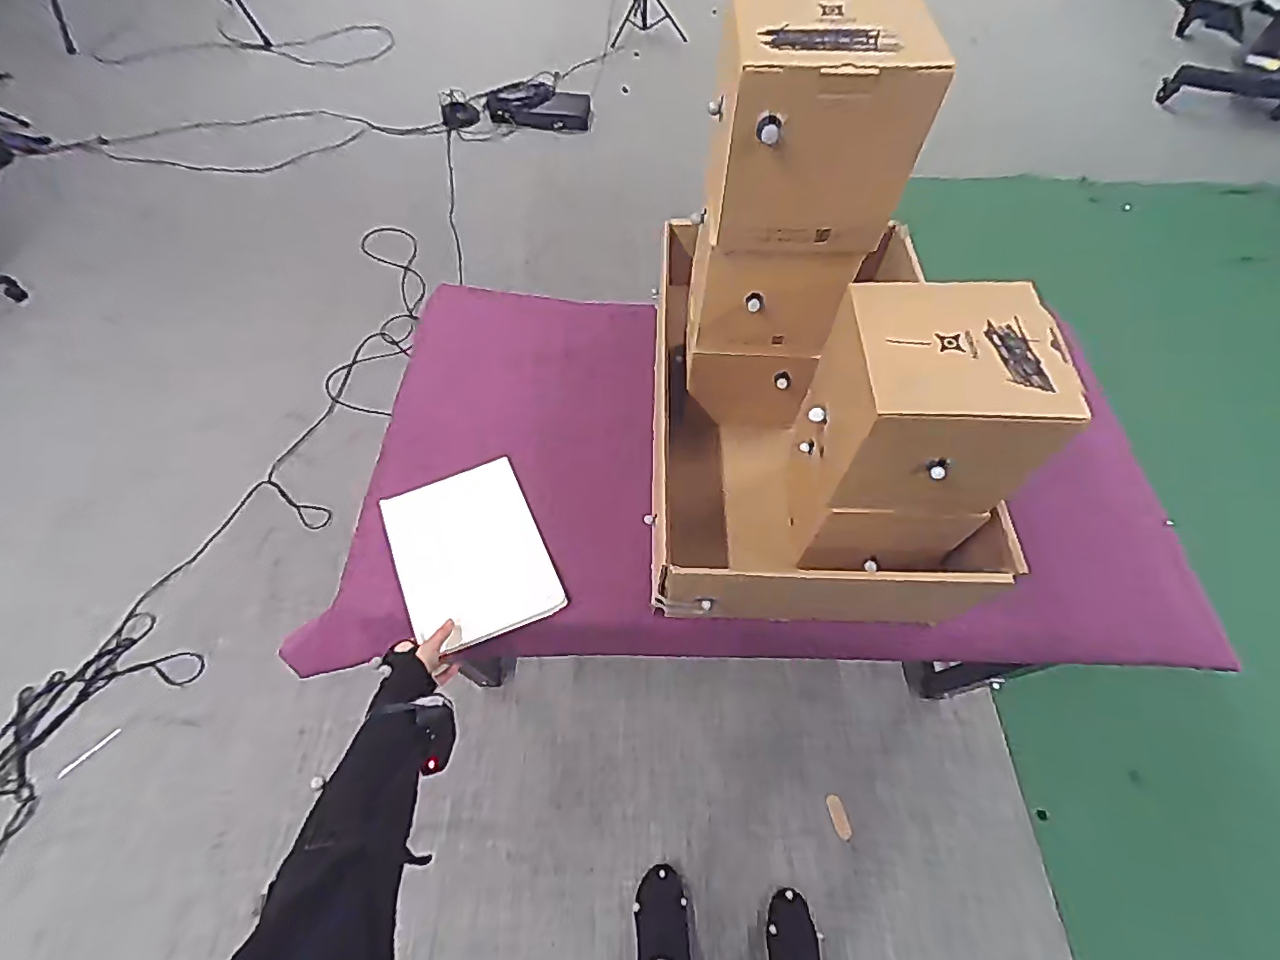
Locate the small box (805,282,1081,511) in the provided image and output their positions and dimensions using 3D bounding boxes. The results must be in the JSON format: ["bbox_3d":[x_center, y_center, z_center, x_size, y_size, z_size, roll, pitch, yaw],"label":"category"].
[{"bbox_3d":[0.283,-0.078,0.555,0.179,0.176,0.168,2,58,3],"label":"small box"}]

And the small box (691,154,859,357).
[{"bbox_3d":[0.155,-0.274,0.677,0.168,0.176,0.179,3,61,1],"label":"small box"}]
